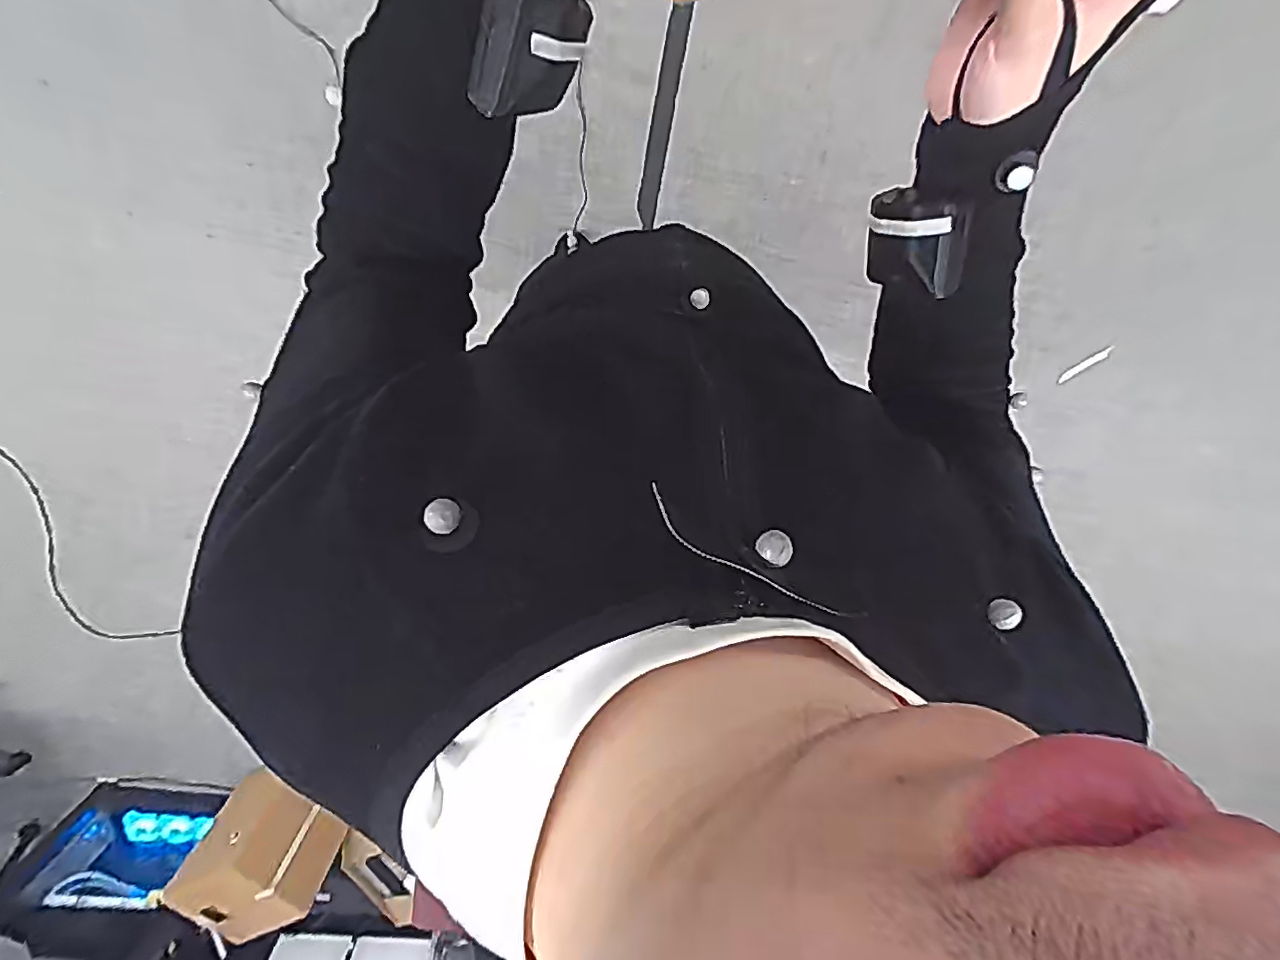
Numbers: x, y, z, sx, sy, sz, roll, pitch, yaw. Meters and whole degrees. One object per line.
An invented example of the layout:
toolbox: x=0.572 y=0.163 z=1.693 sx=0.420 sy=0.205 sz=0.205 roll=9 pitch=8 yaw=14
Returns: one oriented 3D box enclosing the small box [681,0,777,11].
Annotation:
small box: x=0.074 y=-0.239 z=0.124 sx=0.168 sy=0.176 sz=0.179 roll=-10 pitch=129 yaw=6
